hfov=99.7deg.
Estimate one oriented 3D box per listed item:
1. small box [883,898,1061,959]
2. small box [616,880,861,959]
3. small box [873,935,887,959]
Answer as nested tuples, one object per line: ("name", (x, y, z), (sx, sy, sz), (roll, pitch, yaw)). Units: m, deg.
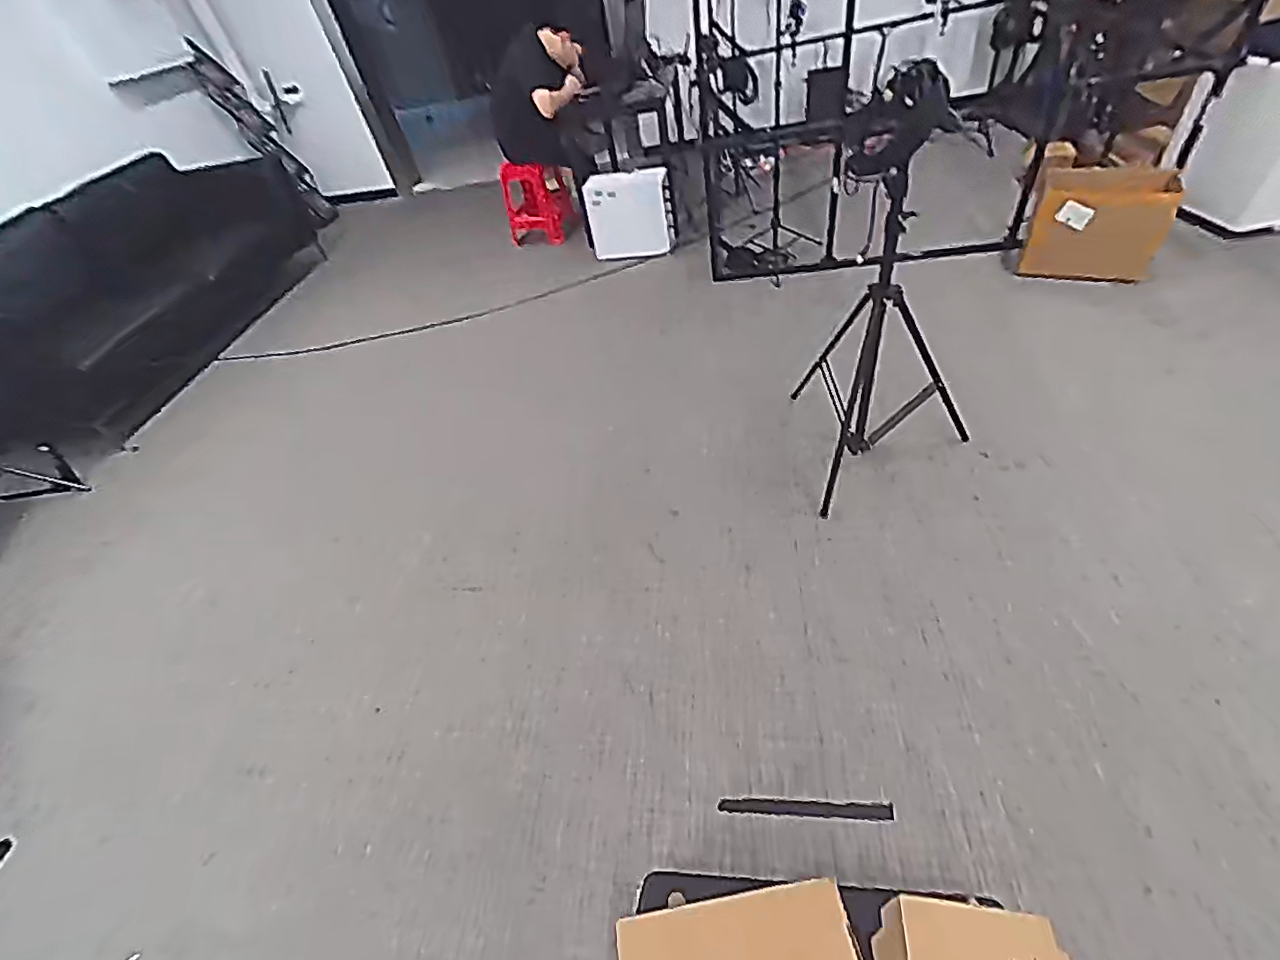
("small box", (0.427, 0.663, 0.694), (0.179, 0.176, 0.168), (0, 46, 14))
("small box", (0.090, 0.435, 0.406), (0.179, 0.176, 0.168), (-13, 41, 1))
("small box", (0.457, 0.788, 0.799), (0.168, 0.176, 0.179), (-4, 46, 9))
